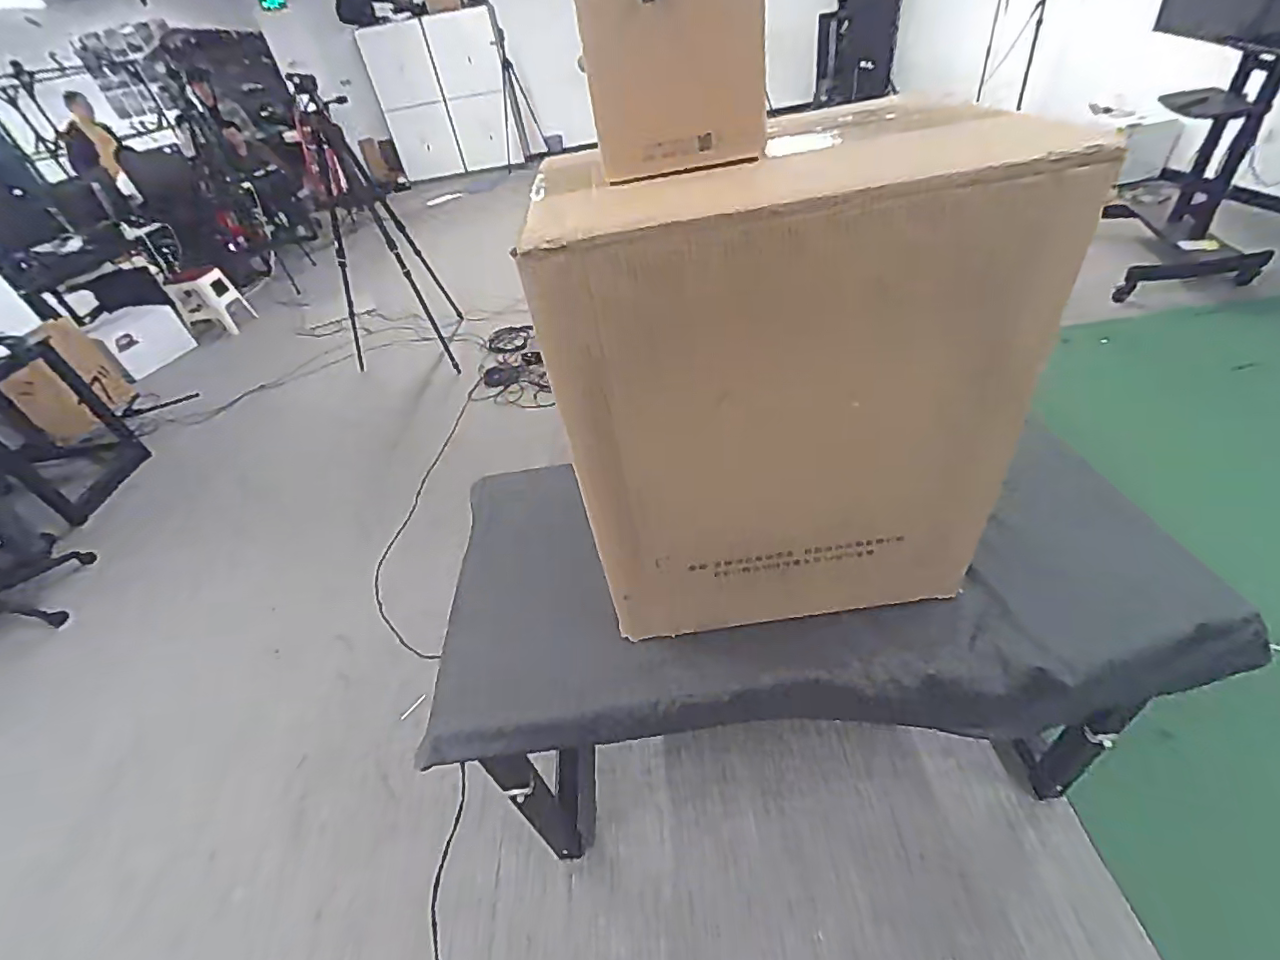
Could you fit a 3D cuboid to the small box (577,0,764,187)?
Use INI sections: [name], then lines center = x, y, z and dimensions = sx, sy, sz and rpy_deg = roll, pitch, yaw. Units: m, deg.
[small box]
center = 0.034, -0.427, 0.576
dimensions = 0.168, 0.176, 0.179
rpy_deg = -8, 38, 5
